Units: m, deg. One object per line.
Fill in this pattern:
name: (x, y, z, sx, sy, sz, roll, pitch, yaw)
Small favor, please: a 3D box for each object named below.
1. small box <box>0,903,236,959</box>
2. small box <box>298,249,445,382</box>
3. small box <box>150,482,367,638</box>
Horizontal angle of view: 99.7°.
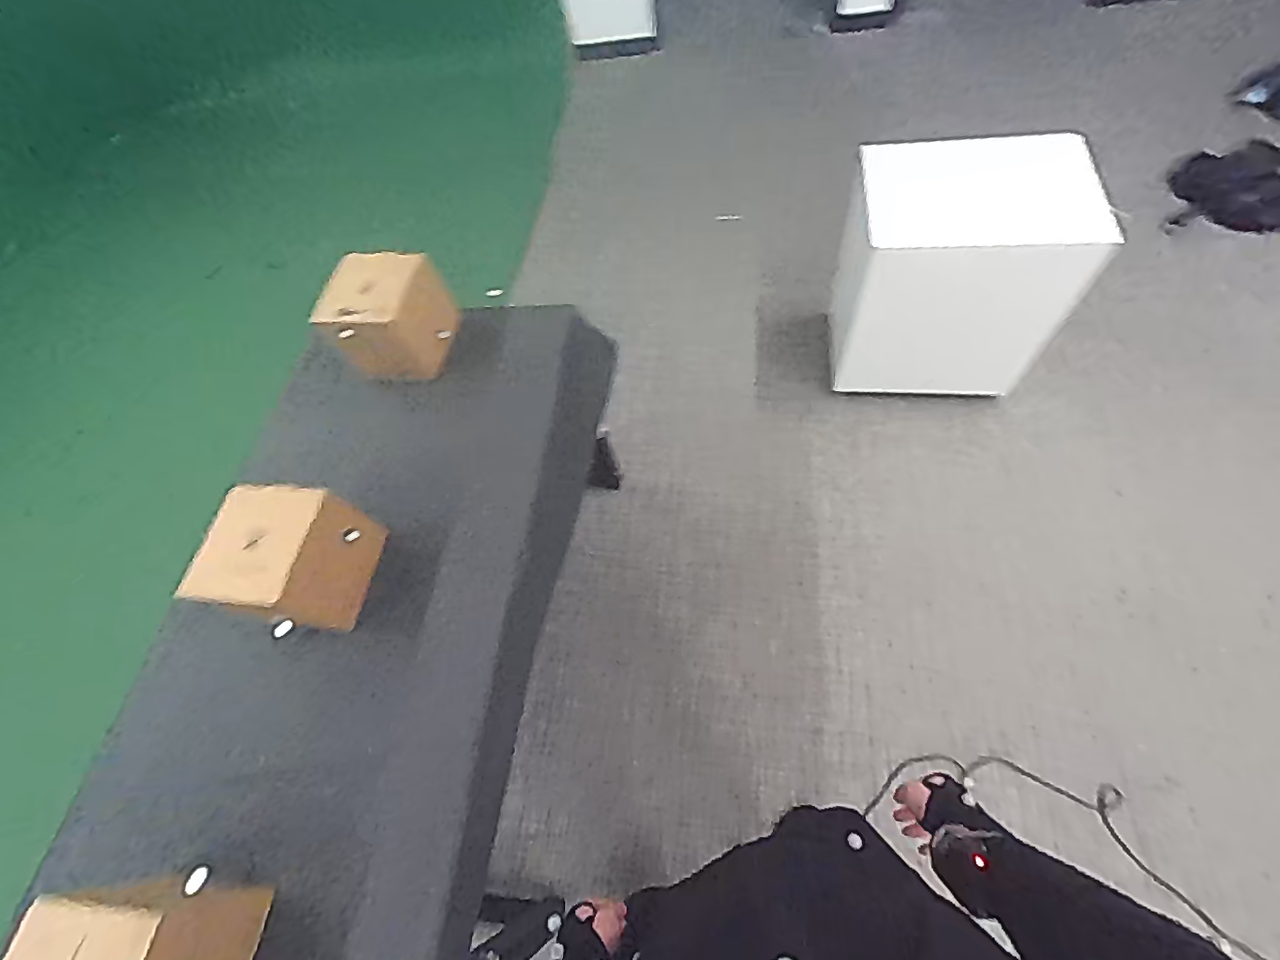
small box: (-0.566, 0.556, 0.546, 0.168, 0.176, 0.179, 0, 59, 6)
small box: (-0.498, -0.314, 1.039, 0.168, 0.176, 0.179, 5, 61, 9)
small box: (-0.538, 0.121, 0.797, 0.168, 0.176, 0.179, 2, 62, 9)
